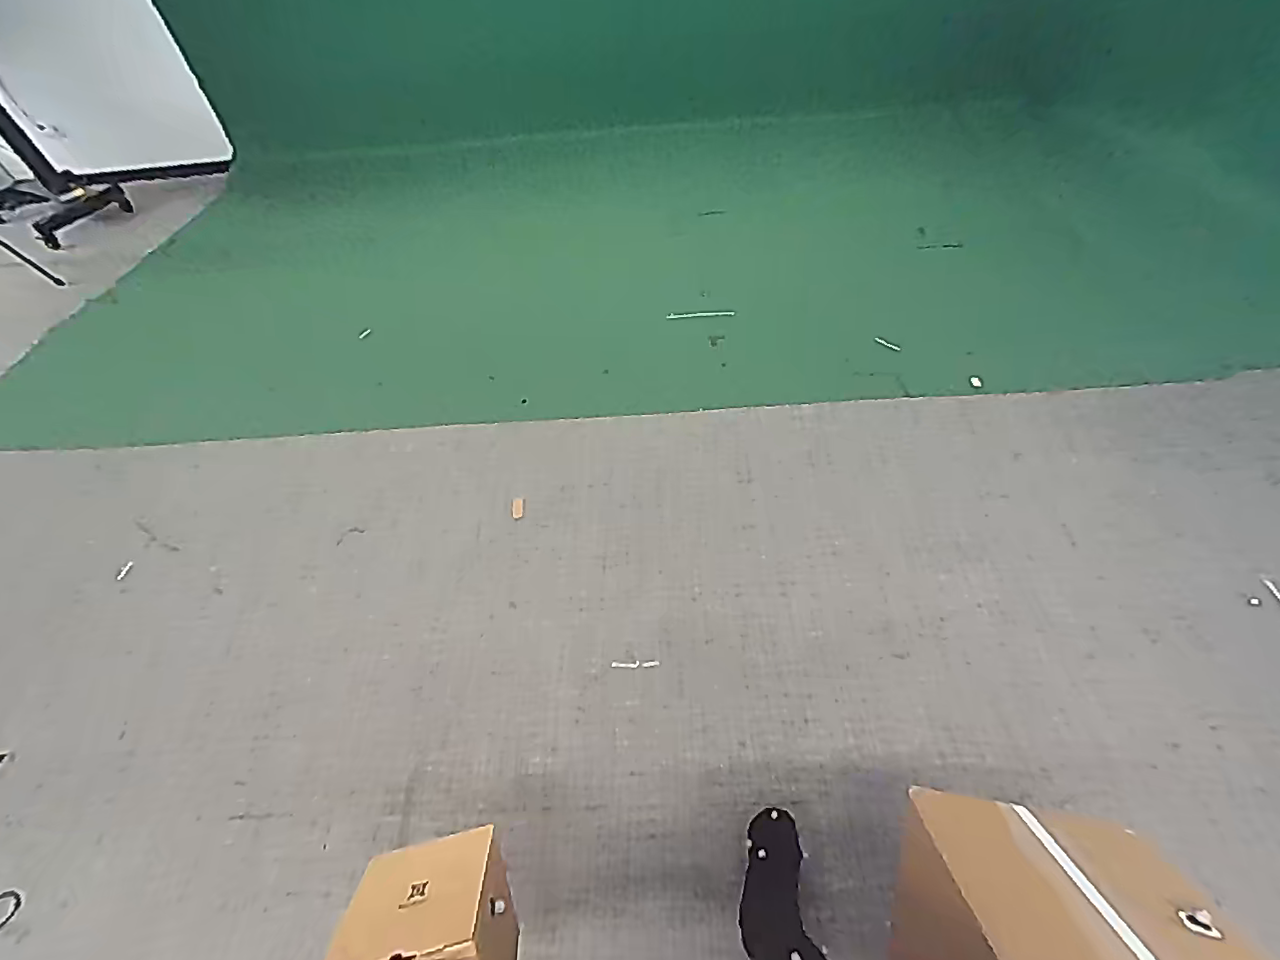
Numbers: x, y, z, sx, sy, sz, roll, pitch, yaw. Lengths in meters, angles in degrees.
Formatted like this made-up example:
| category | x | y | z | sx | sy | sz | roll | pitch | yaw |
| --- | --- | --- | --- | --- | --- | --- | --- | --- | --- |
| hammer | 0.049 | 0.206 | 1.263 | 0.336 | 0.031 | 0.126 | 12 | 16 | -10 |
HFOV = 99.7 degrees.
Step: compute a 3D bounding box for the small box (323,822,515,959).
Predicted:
| category | x | y | z | sx | sy | sz | roll | pitch | yaw |
| --- | --- | --- | --- | --- | --- | --- | --- | --- | --- |
| small box | -0.257 | 0.577 | 0.669 | 0.168 | 0.176 | 0.179 | -12 | 7 | -7 |
